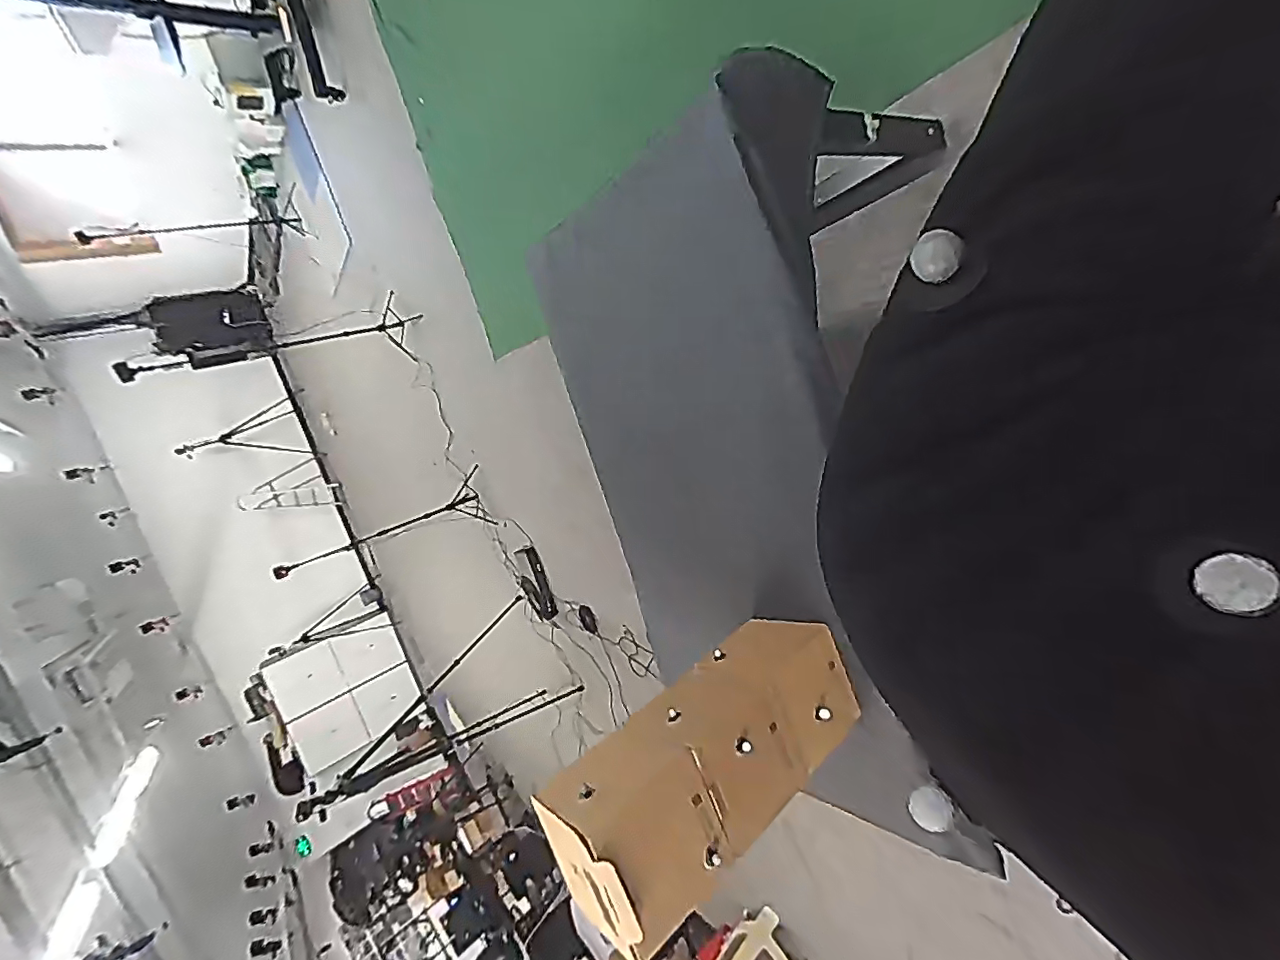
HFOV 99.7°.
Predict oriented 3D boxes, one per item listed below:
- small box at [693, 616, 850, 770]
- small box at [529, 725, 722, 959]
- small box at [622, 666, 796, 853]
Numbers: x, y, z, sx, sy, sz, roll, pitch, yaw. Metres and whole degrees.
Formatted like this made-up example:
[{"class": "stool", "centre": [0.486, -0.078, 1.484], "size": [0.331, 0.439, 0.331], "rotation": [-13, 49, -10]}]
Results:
[{"class": "small box", "centre": [0.227, 0.342, 0.909], "size": [0.179, 0.176, 0.168], "rotation": [-16, 97, 55]}, {"class": "small box", "centre": [-0.014, 0.455, 0.719], "size": [0.179, 0.176, 0.168], "rotation": [-20, 93, 55]}, {"class": "small box", "centre": [0.109, 0.400, 0.813], "size": [0.179, 0.176, 0.168], "rotation": [-18, 95, 56]}]
